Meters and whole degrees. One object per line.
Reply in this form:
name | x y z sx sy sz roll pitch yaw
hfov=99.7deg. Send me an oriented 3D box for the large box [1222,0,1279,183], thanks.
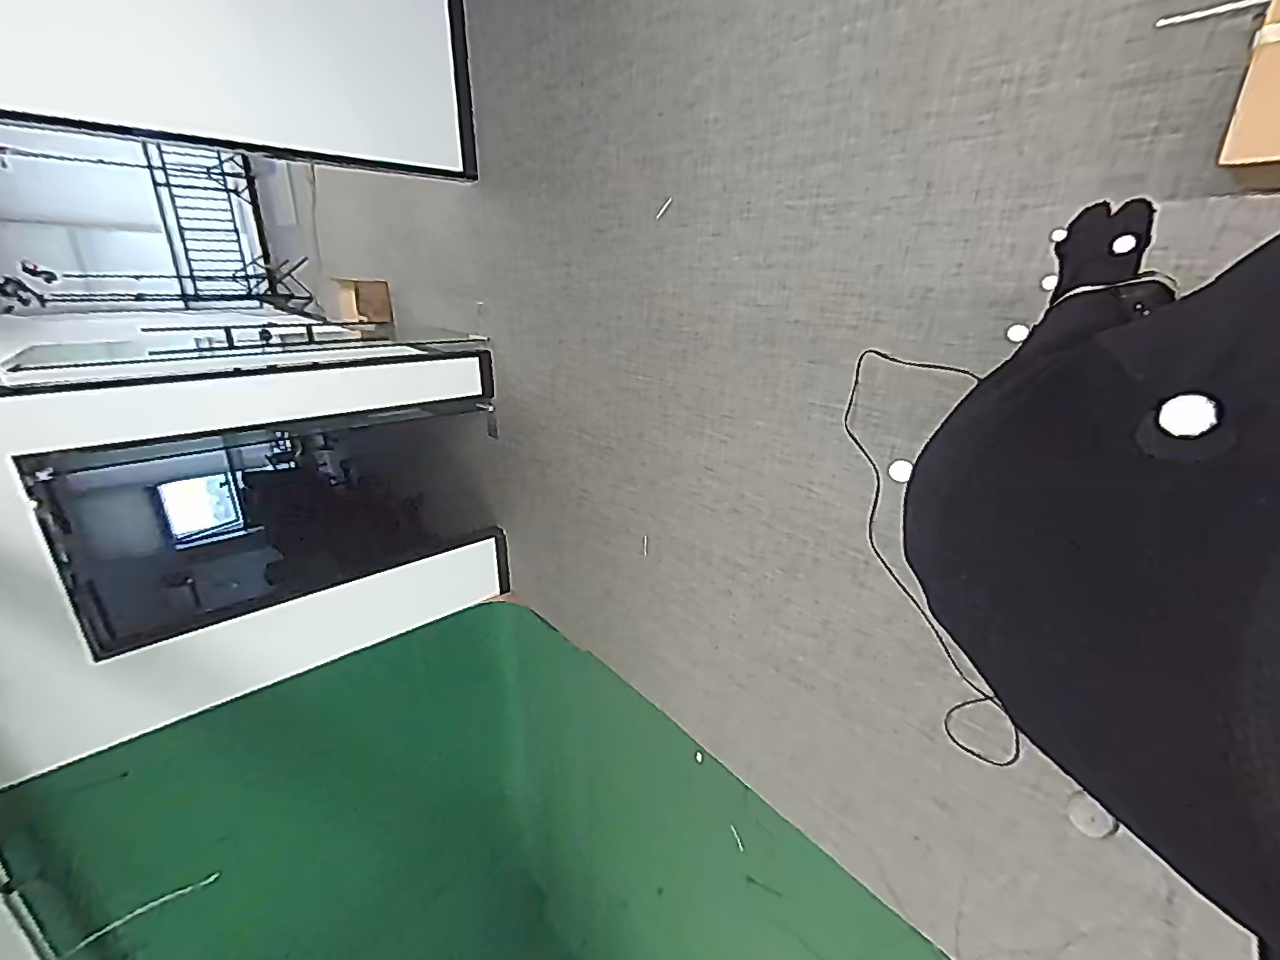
large box | 1.083 -0.592 0.687 0.408 0.320 0.320 23 120 44
